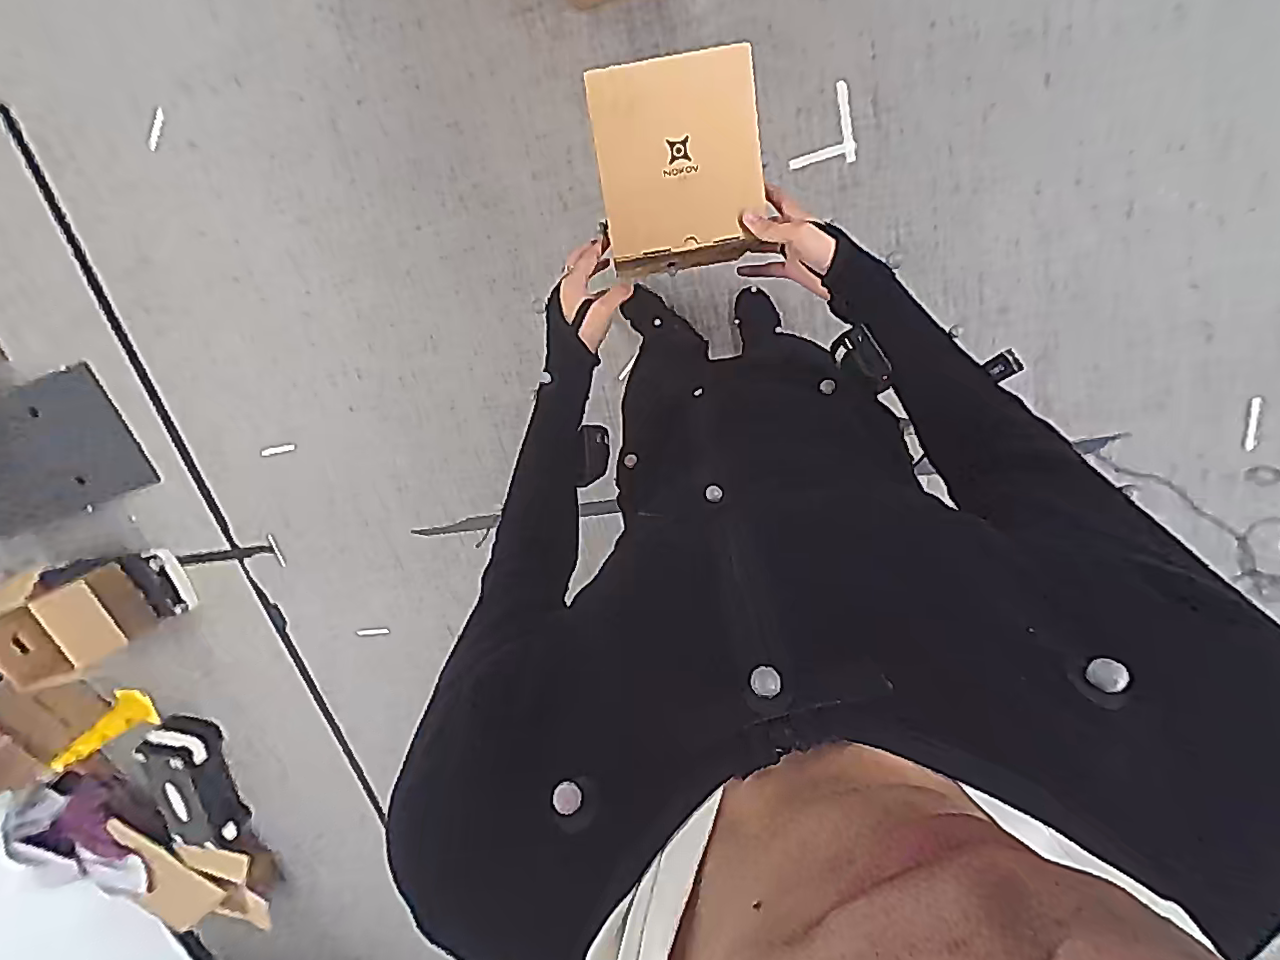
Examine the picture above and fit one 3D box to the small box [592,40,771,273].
[{"bbox_3d":[0.040,-0.347,0.615,0.168,0.176,0.179,-9,105,0],"label":"small box"}]
